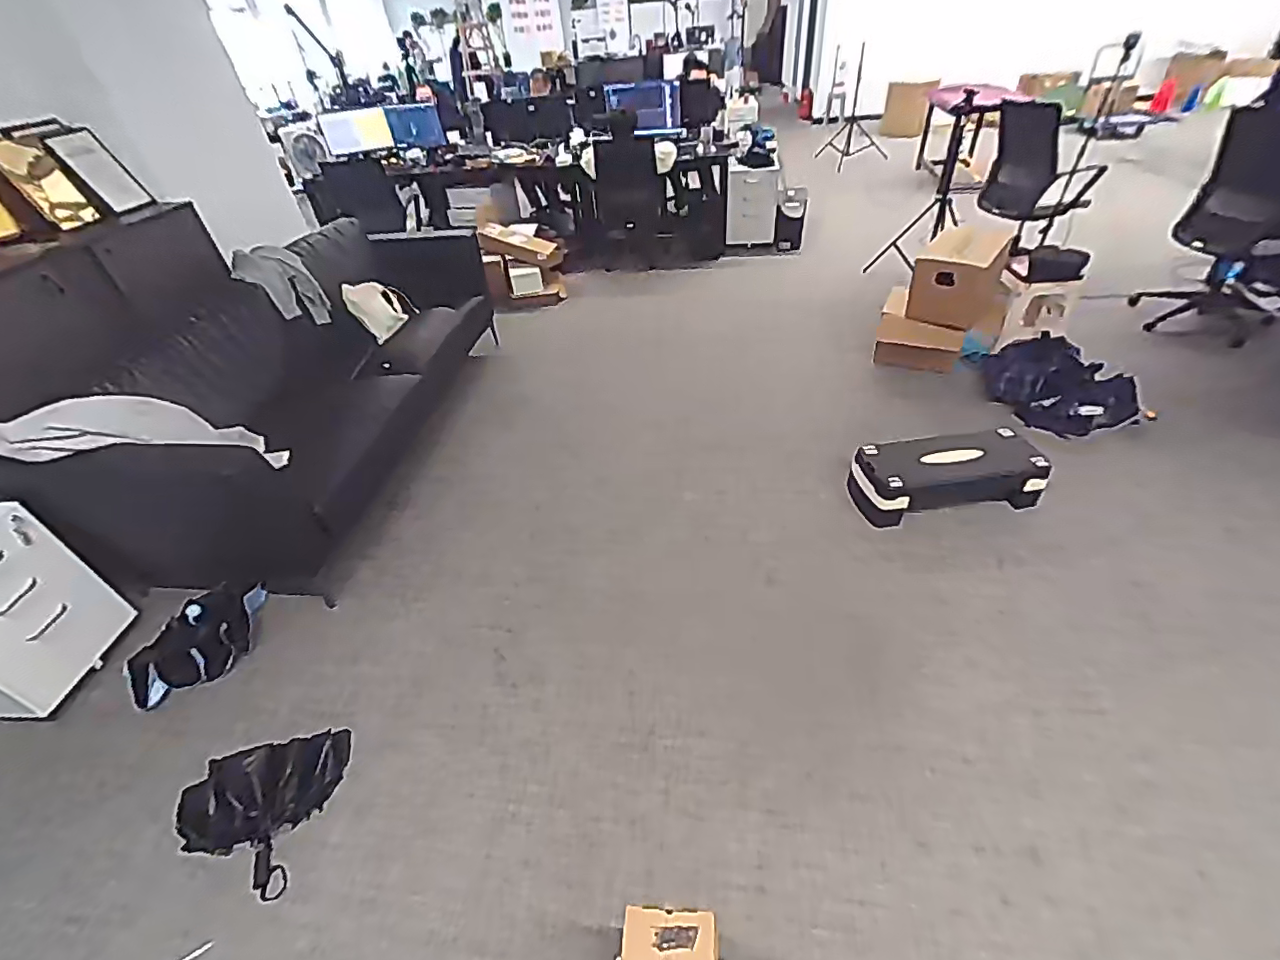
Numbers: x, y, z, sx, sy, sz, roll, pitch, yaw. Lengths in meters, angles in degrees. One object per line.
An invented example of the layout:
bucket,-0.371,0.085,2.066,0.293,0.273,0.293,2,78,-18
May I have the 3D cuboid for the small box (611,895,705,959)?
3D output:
small box,0.036,0.900,0.995,0.168,0.176,0.179,0,41,7
